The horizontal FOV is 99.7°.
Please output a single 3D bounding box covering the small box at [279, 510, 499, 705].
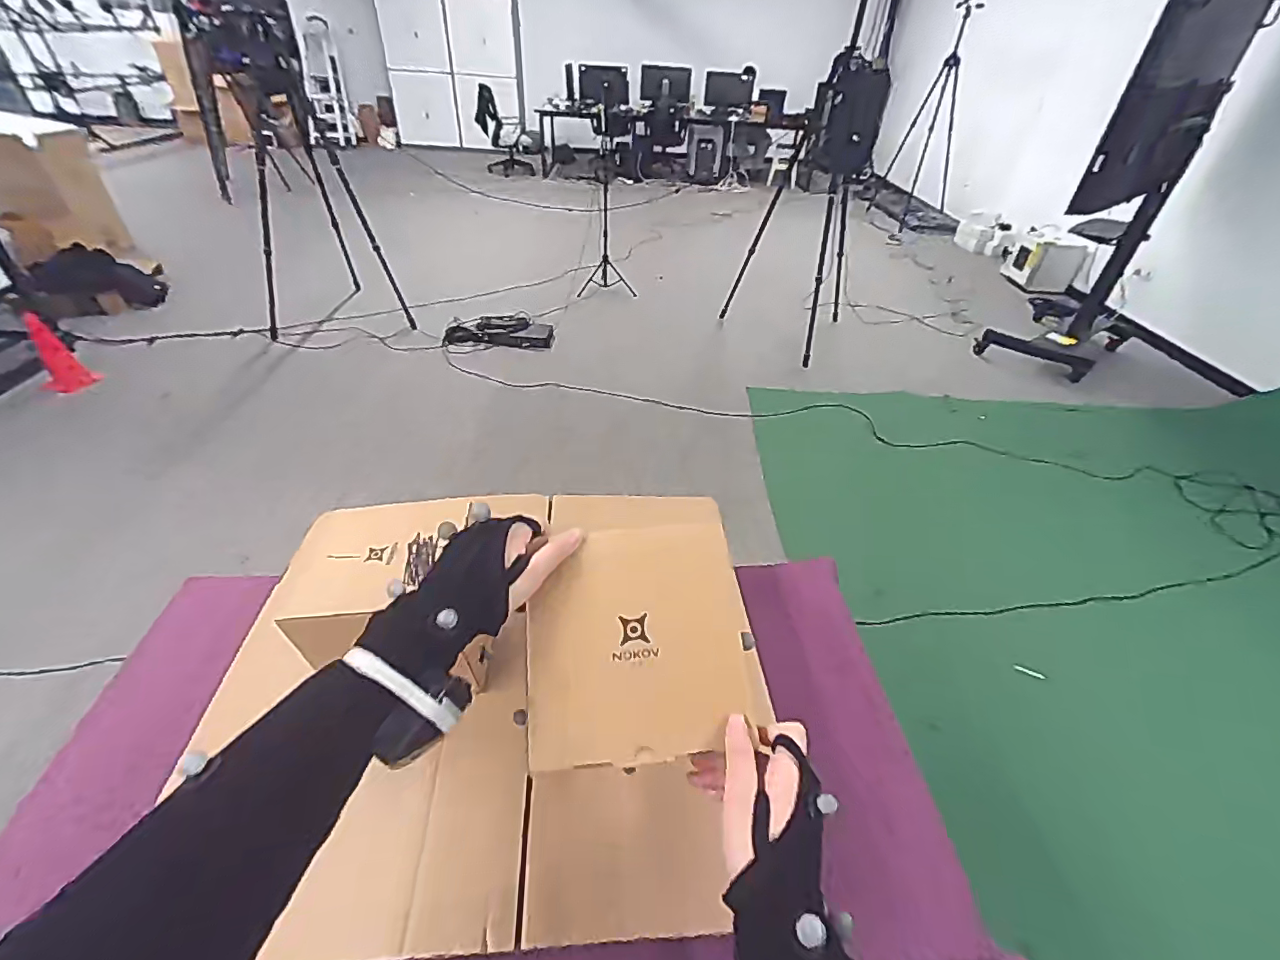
[{"bbox_3d":[-0.285,0.158,0.668,0.179,0.176,0.168,-5,40,1],"label":"small box"}]
